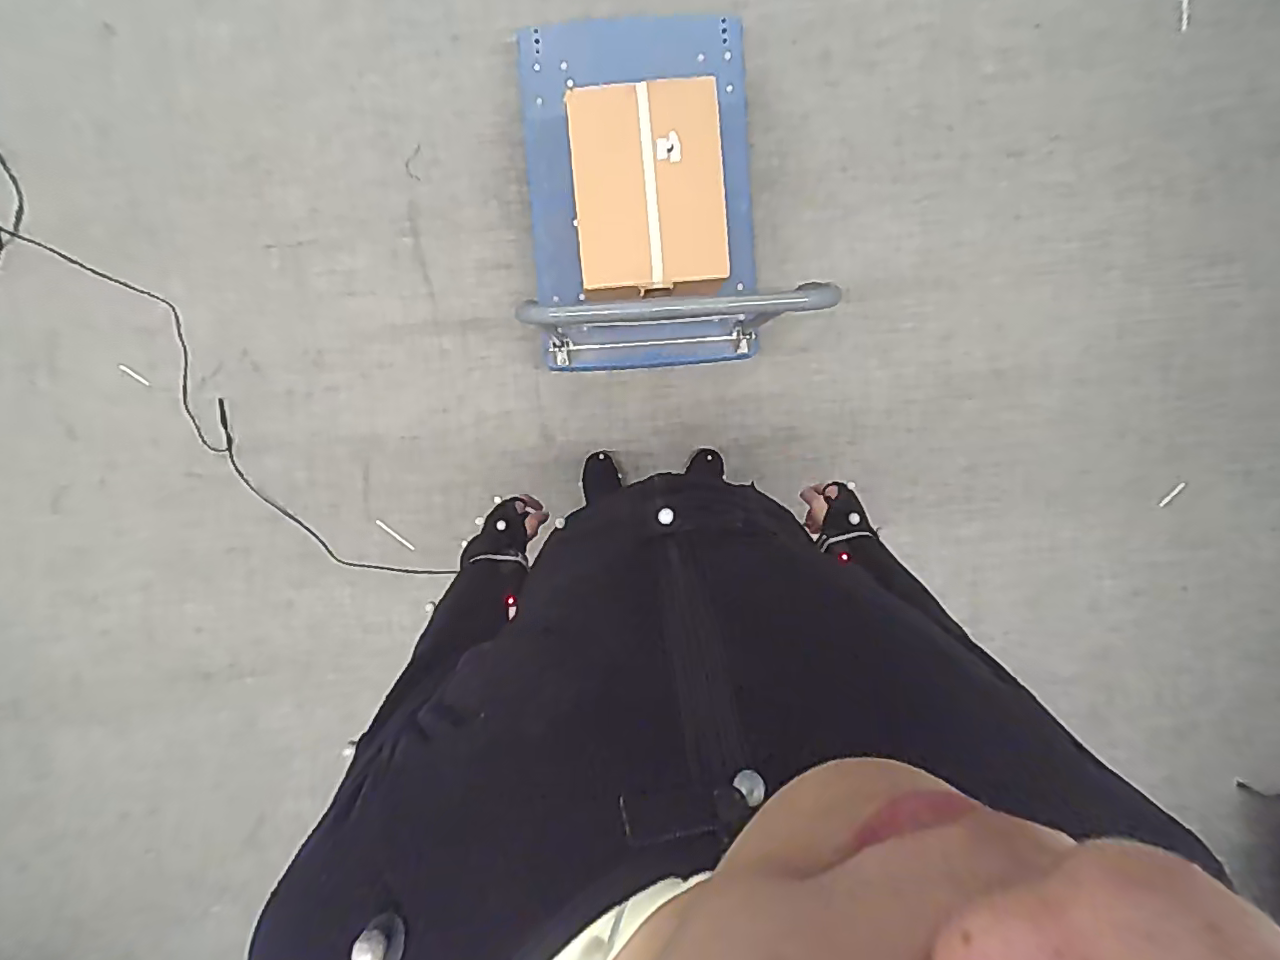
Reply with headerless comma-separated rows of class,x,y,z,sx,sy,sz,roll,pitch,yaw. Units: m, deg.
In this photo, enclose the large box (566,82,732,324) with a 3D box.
large box,0.020,-0.614,1.268,0.320,0.320,0.408,-5,93,-1
